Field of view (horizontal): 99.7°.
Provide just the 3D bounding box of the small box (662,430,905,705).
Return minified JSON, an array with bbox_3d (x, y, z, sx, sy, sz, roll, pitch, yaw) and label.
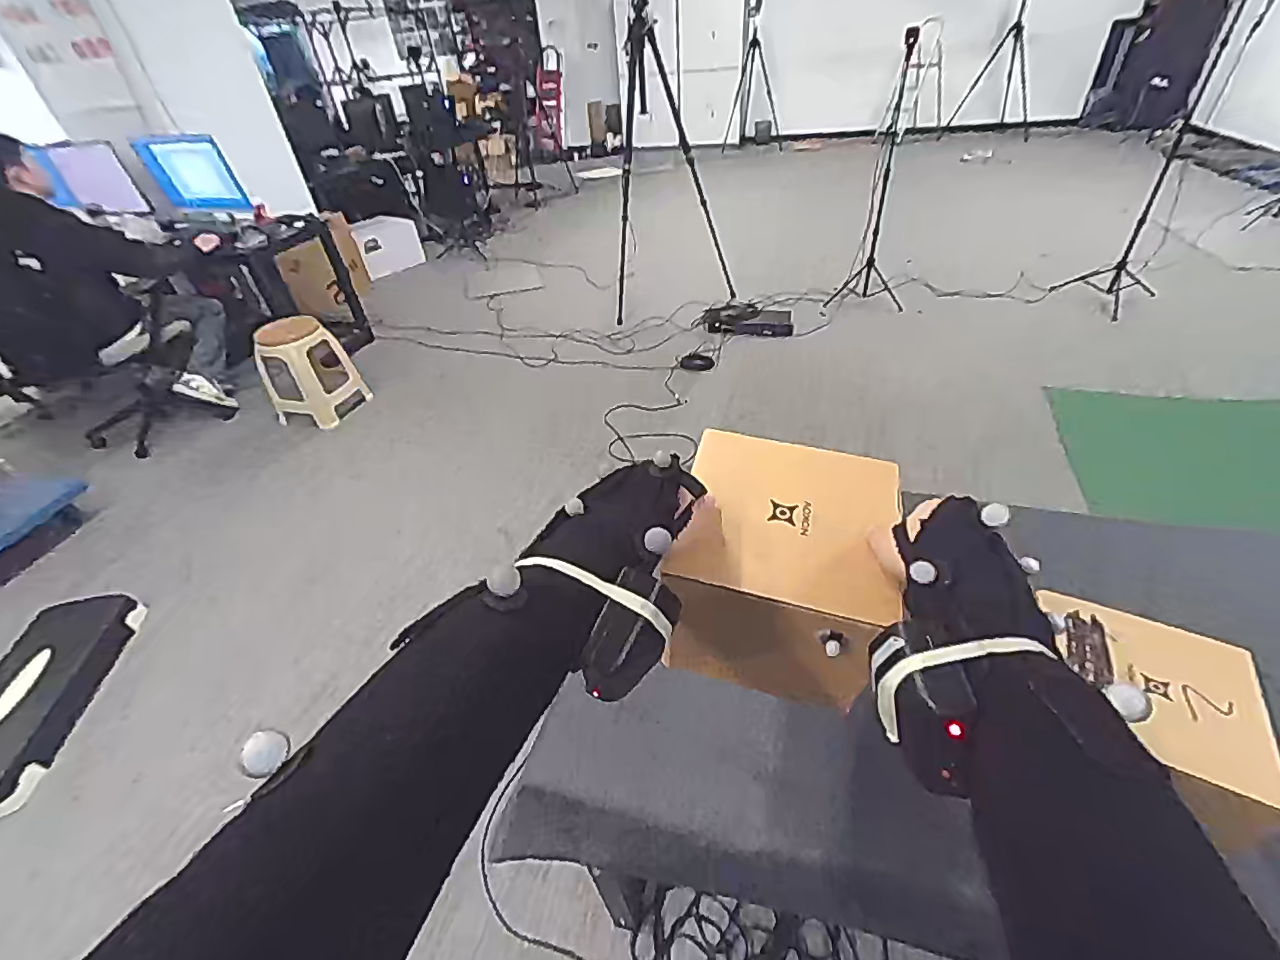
[{"bbox_3d":[0.122,0.082,0.495,0.179,0.176,0.168,12,49,11],"label":"small box"}]
